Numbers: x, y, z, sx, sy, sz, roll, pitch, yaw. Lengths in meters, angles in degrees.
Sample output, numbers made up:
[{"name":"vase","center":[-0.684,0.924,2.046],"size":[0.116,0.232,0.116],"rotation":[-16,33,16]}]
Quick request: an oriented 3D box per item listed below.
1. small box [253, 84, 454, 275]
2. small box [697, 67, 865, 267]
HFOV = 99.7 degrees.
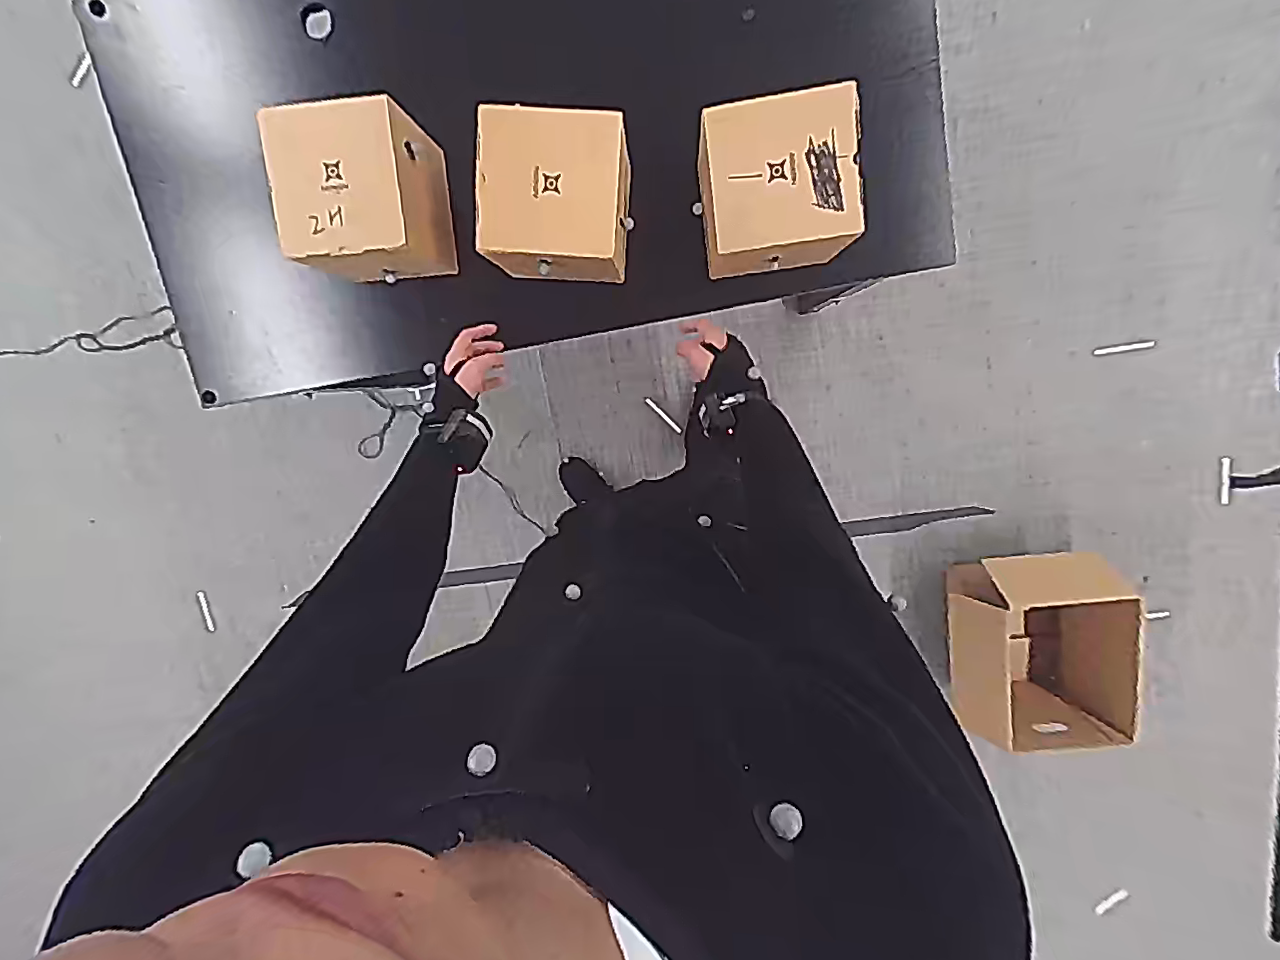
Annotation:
[{"name":"small box","center":[-0.371,-0.390,0.732],"size":[0.168,0.176,0.179],"rotation":[-4,101,5]},{"name":"small box","center":[0.172,-0.386,0.699],"size":[0.179,0.176,0.168],"rotation":[-7,100,6]}]
